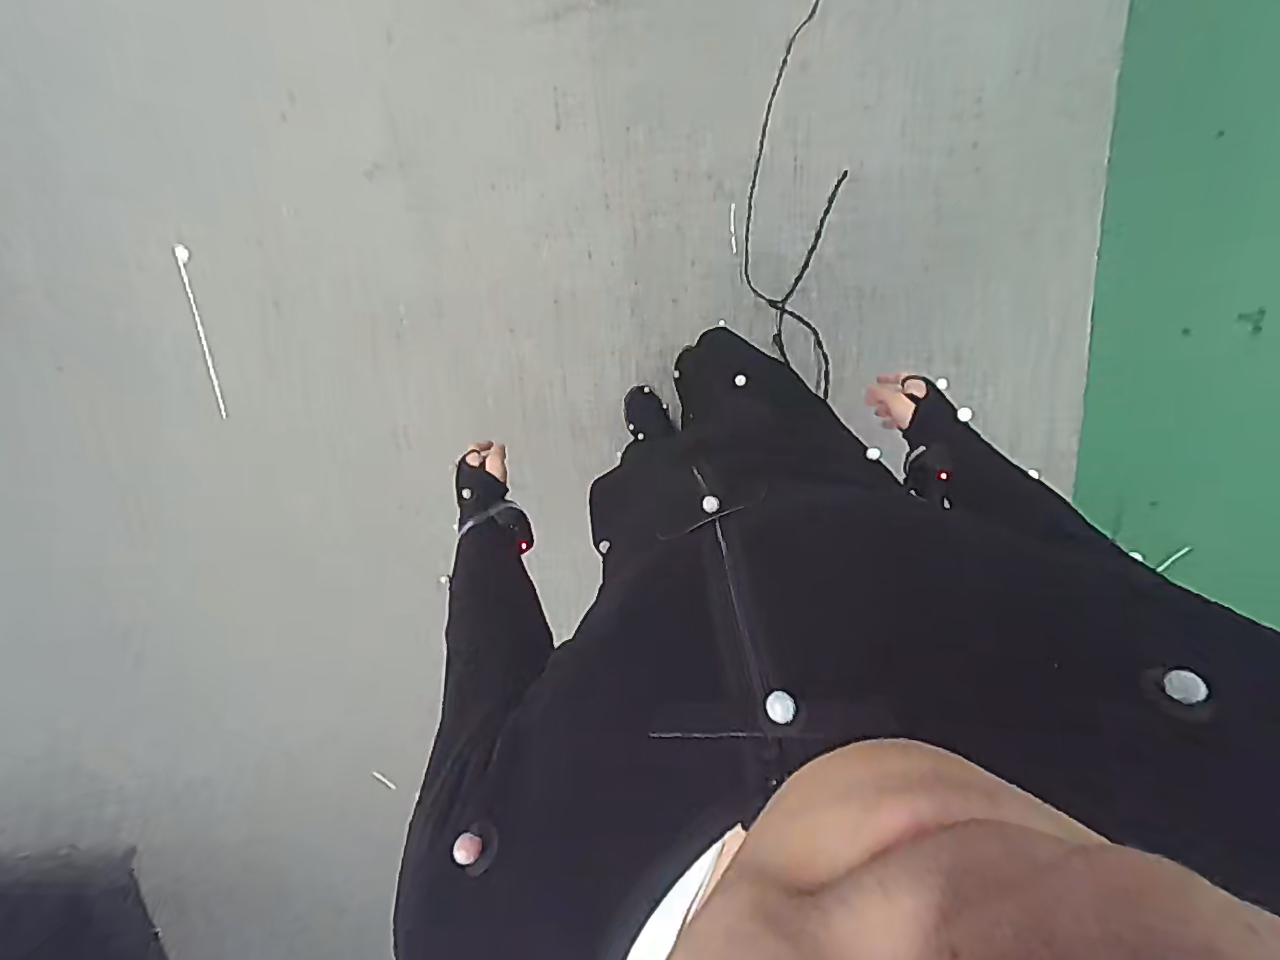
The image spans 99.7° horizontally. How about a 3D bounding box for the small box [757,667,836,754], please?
[{"bbox_3d":[0.438,0.648,1.535,0.179,0.176,0.168,0,104,1],"label":"small box"}]
